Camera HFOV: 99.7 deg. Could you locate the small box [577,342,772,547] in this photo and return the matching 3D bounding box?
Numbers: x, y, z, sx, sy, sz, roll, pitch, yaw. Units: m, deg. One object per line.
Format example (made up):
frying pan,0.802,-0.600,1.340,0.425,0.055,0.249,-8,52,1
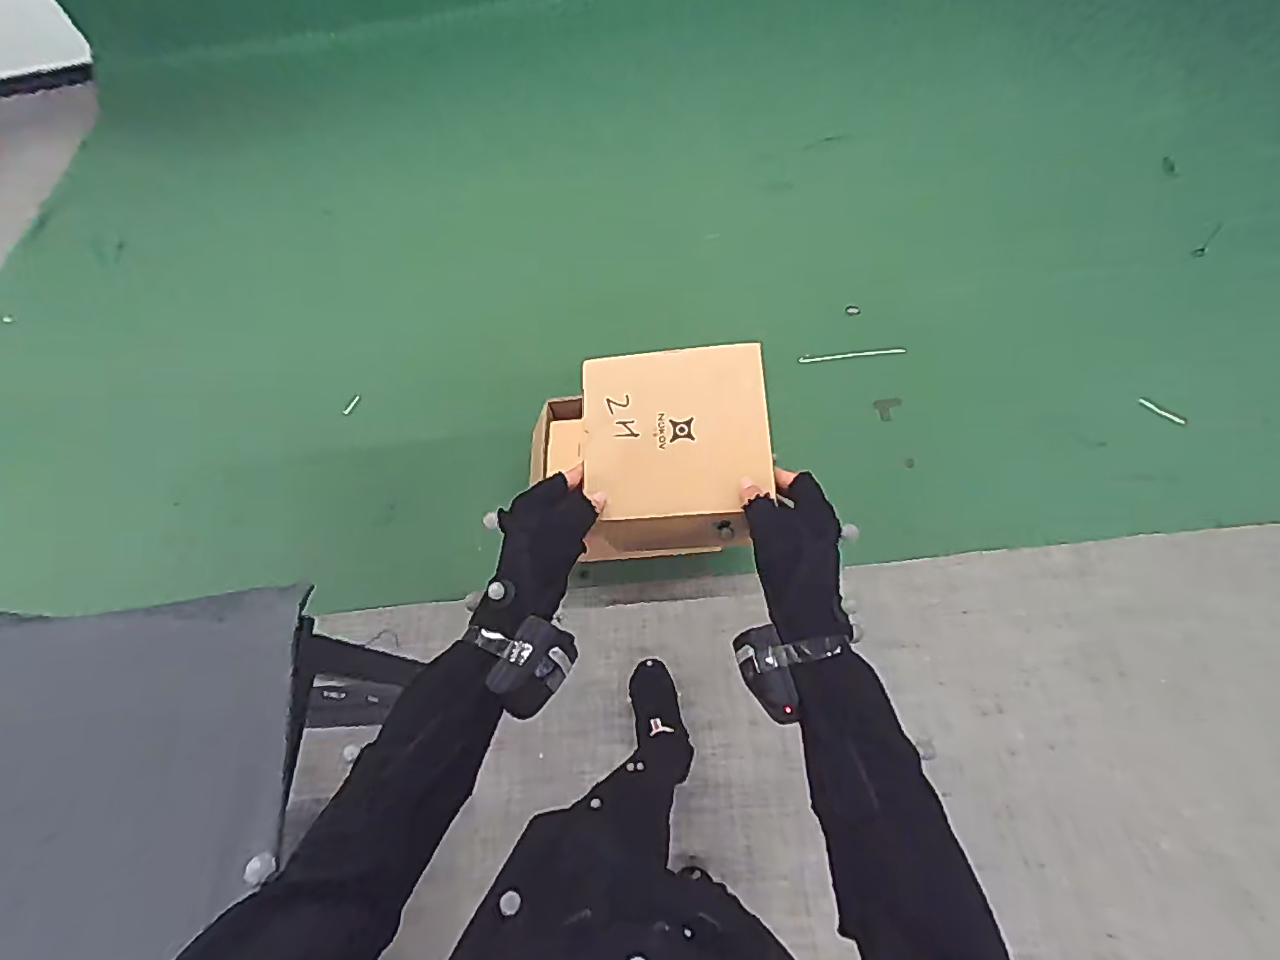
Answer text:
small box,0.039,-0.025,0.576,0.179,0.176,0.168,-5,72,9
